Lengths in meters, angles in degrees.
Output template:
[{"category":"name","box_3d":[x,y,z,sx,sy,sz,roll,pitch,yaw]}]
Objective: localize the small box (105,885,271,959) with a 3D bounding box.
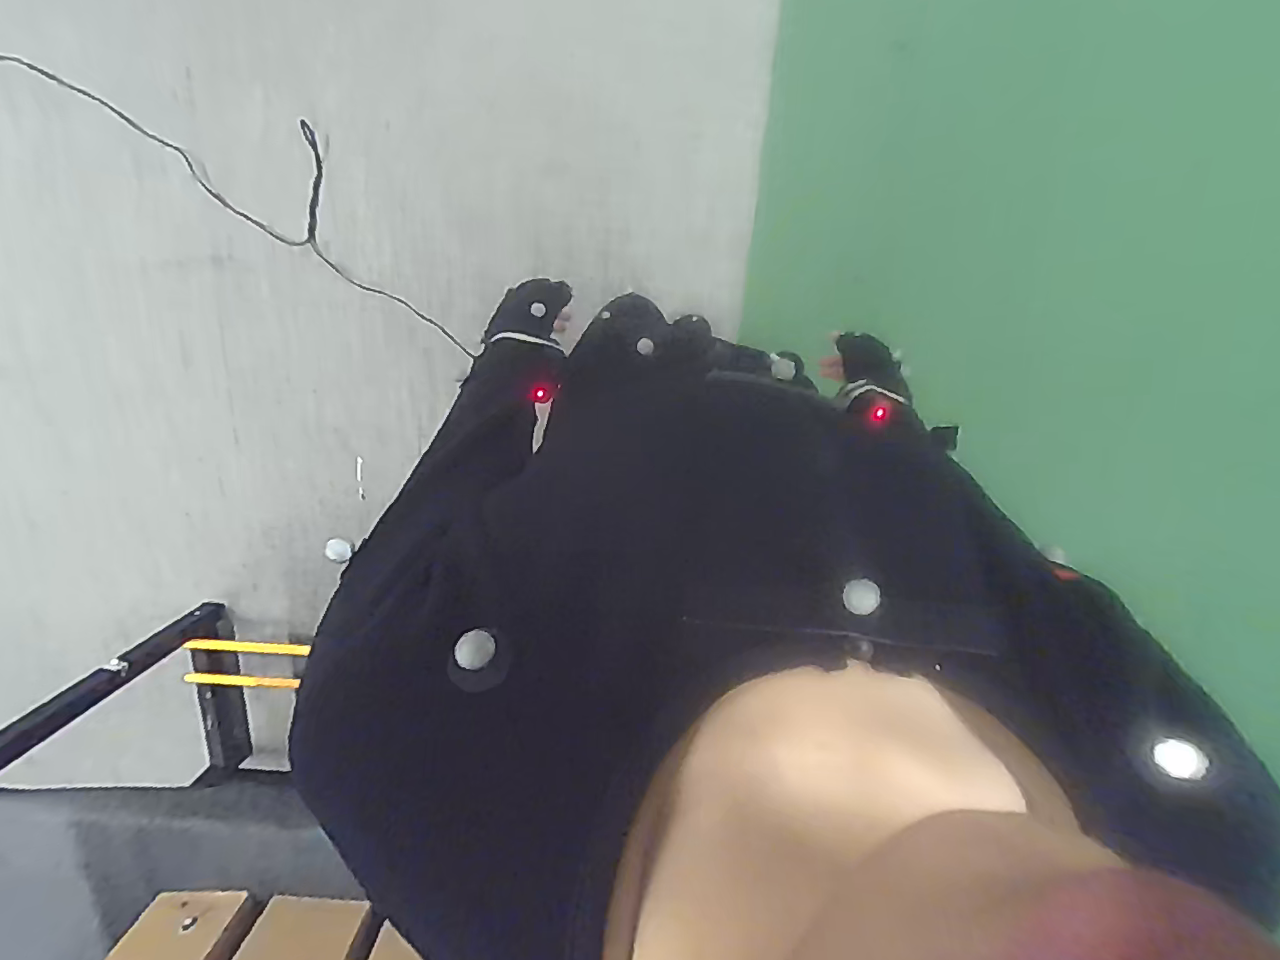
[{"category":"small box","box_3d":[-0.764,0.831,0.911,0.168,0.176,0.179,-2,106,1]}]
